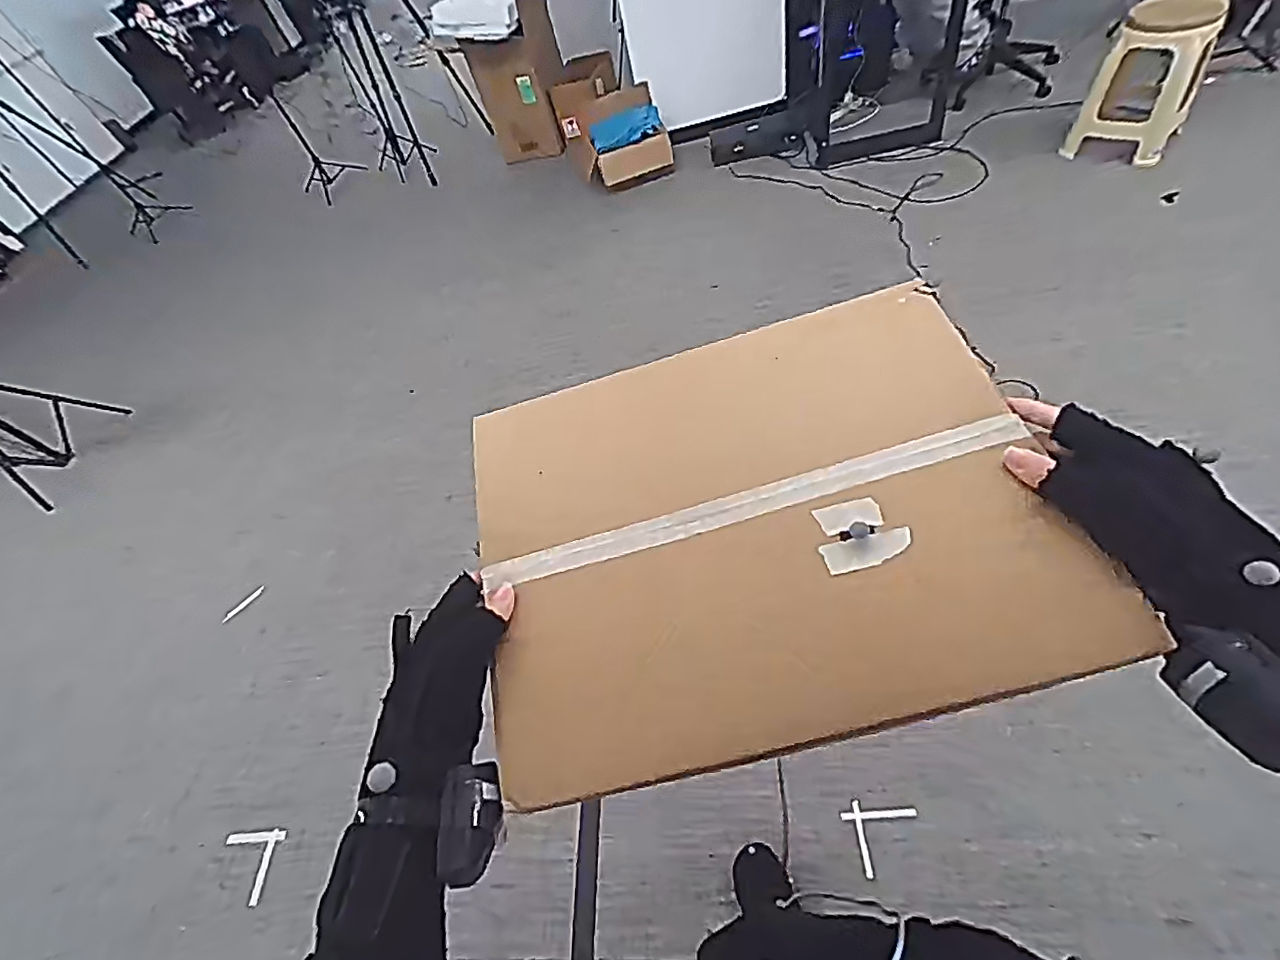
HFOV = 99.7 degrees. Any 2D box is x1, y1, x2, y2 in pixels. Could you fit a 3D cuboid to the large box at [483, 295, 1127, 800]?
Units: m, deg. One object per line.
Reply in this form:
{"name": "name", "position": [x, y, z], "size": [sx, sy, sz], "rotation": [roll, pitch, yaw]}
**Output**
{"name": "large box", "position": [0.105, 0.090, 0.542], "size": [0.408, 0.320, 0.320], "rotation": [-17, 62, 4]}
